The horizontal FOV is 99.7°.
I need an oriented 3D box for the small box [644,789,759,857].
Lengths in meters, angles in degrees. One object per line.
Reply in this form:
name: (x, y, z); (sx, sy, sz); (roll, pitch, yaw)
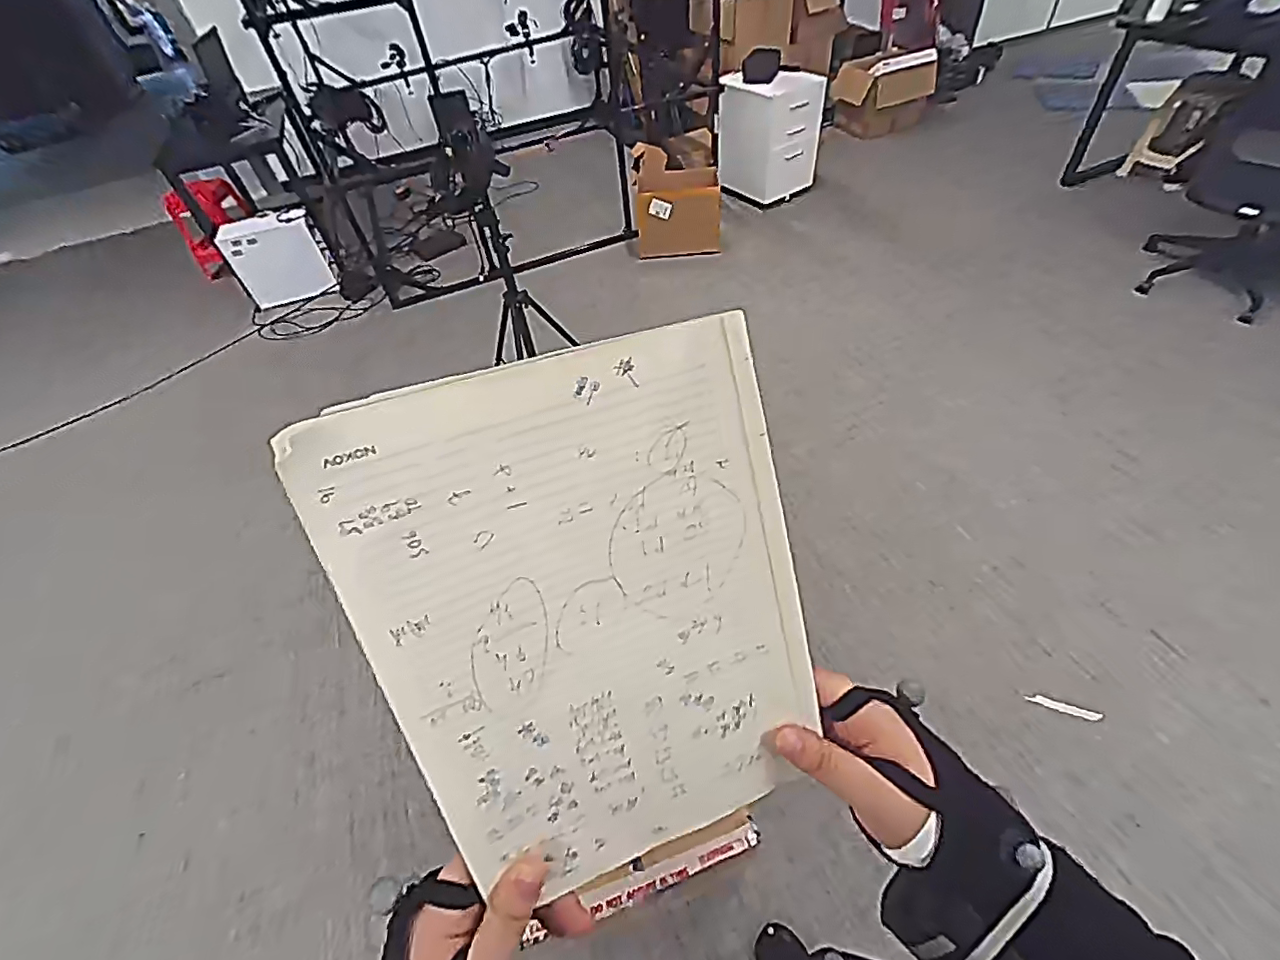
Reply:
small box: (0.062, 0.457, 0.844); (0.179, 0.176, 0.168); (-18, 50, -10)

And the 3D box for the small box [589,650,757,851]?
small box: (0.036, 0.358, 0.714); (0.168, 0.176, 0.179); (-14, 51, -9)
